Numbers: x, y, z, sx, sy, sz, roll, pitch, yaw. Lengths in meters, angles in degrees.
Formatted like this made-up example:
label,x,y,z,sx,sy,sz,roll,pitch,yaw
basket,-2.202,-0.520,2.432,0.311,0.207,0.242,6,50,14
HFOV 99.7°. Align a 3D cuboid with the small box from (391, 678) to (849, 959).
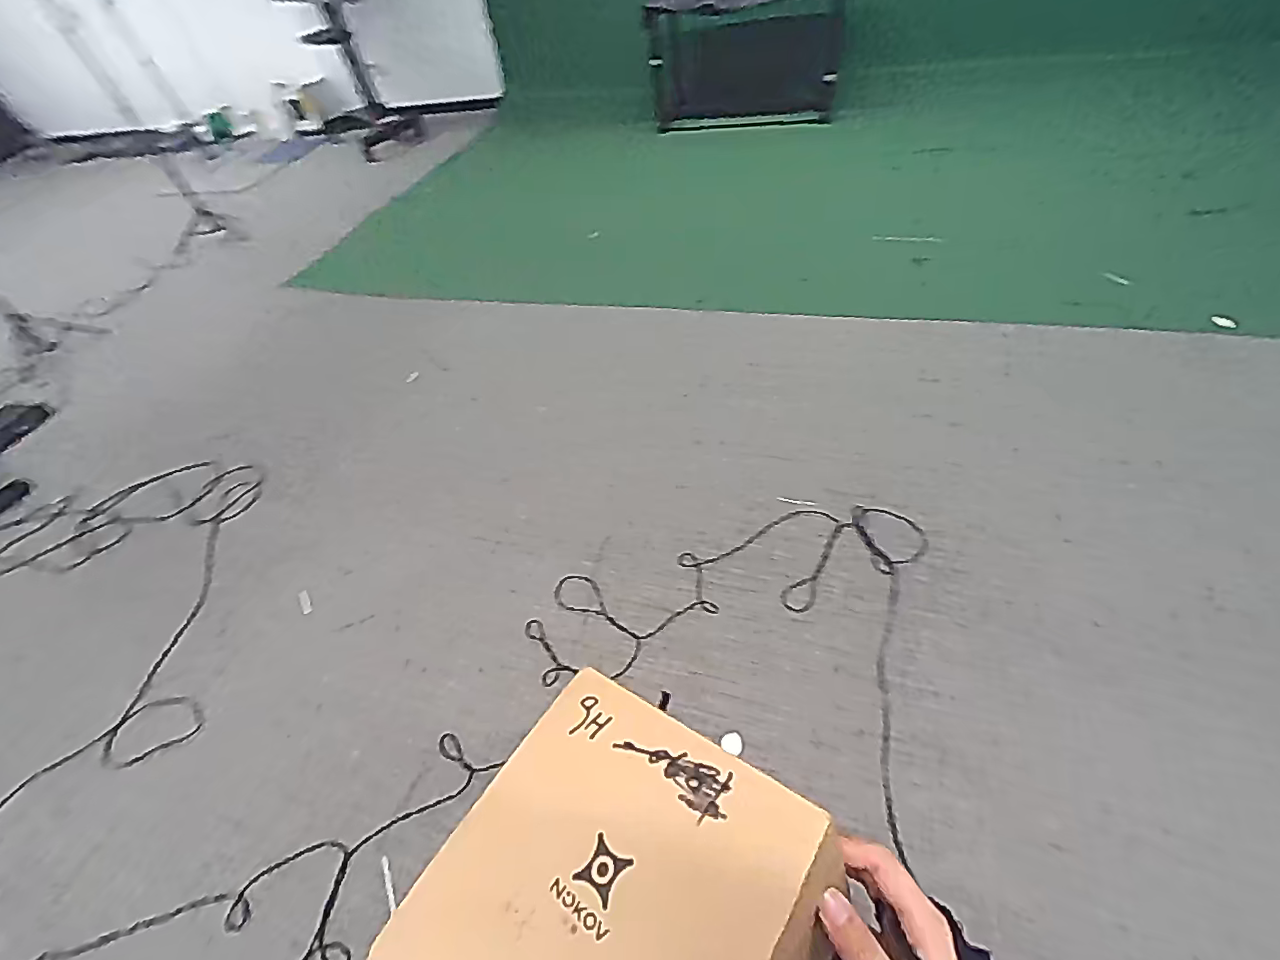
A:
label,x,y,z,sx,sy,sz,roll,pitch,yaw
small box,0.008,0.260,0.311,0.168,0.176,0.179,17,54,38
